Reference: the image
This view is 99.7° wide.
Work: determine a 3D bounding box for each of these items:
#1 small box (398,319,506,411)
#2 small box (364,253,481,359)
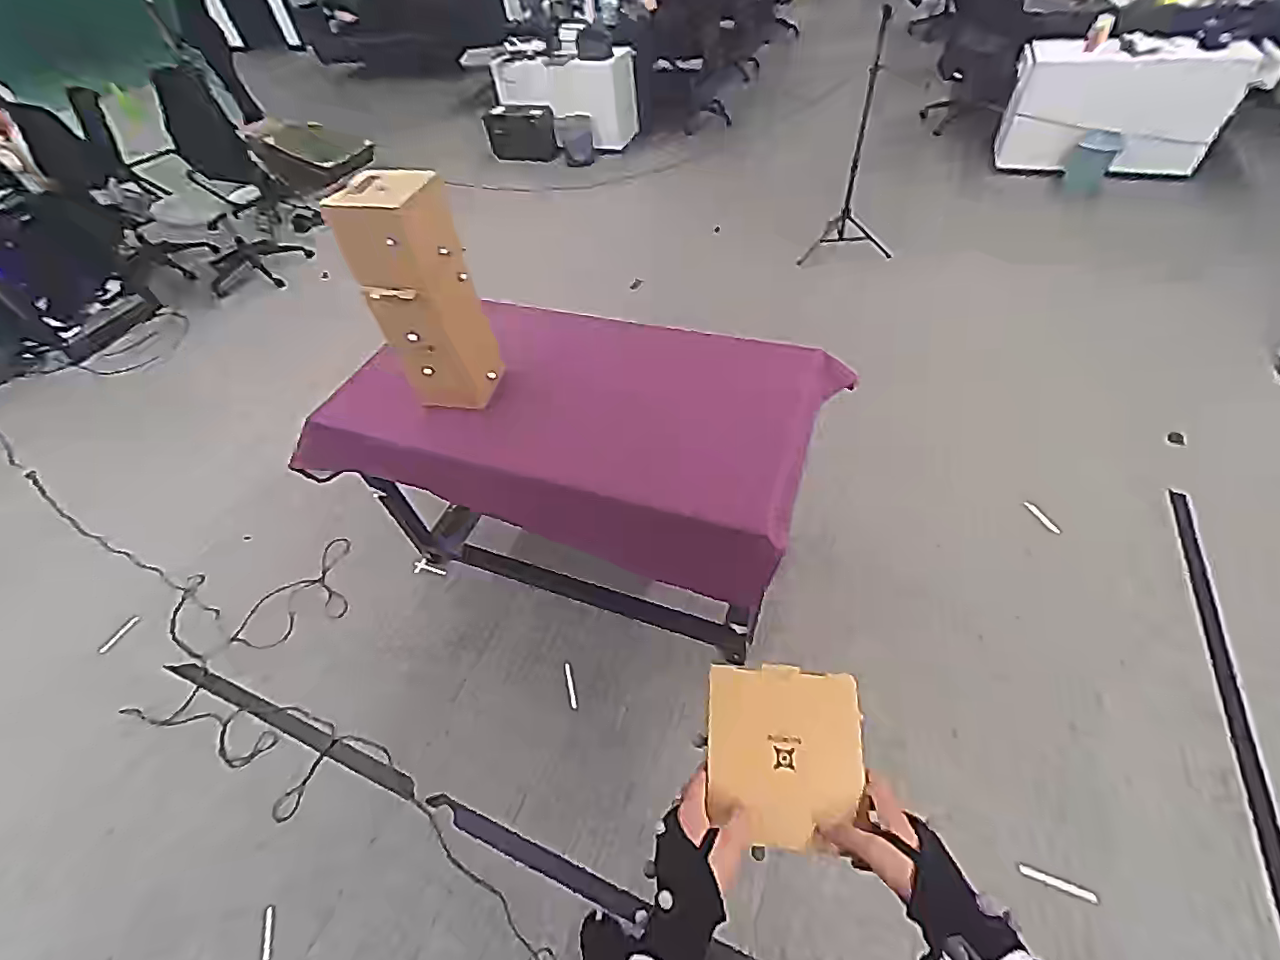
[{"bbox_3d":[-0.466,-0.290,1.368,0.179,0.176,0.168,6,51,11],"label":"small box"},{"bbox_3d":[-0.488,-0.402,1.248,0.168,0.176,0.179,4,51,11],"label":"small box"}]
